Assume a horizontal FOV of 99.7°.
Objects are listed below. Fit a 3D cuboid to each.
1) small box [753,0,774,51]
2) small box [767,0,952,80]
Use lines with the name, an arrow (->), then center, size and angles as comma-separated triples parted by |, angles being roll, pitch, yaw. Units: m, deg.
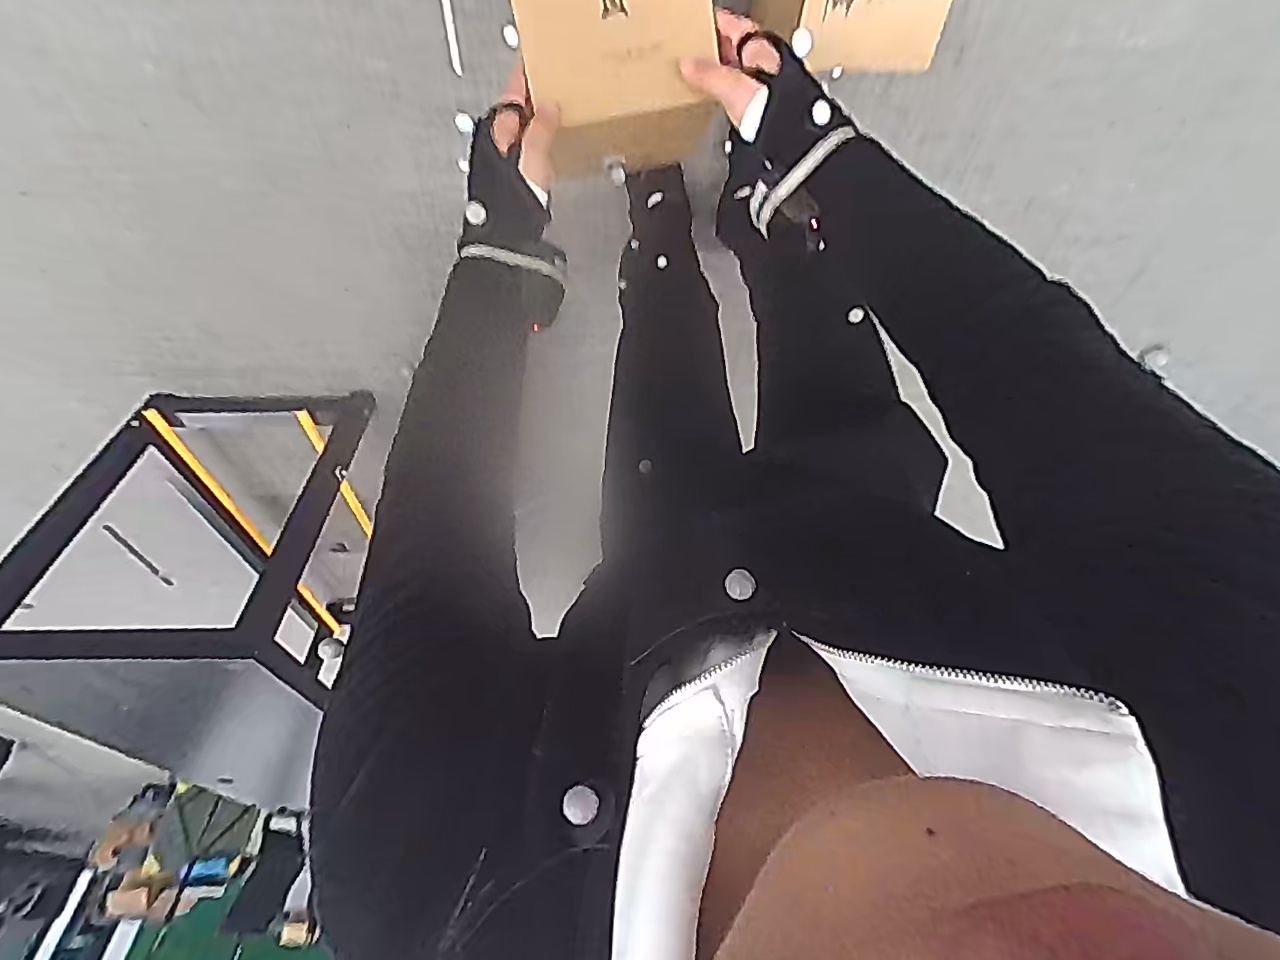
small box -> 0.267, -0.737, 0.774 | 0.168, 0.176, 0.179 | 1, 139, -4
small box -> 0.268, -0.613, 0.663 | 0.179, 0.176, 0.168 | -1, 139, -4
